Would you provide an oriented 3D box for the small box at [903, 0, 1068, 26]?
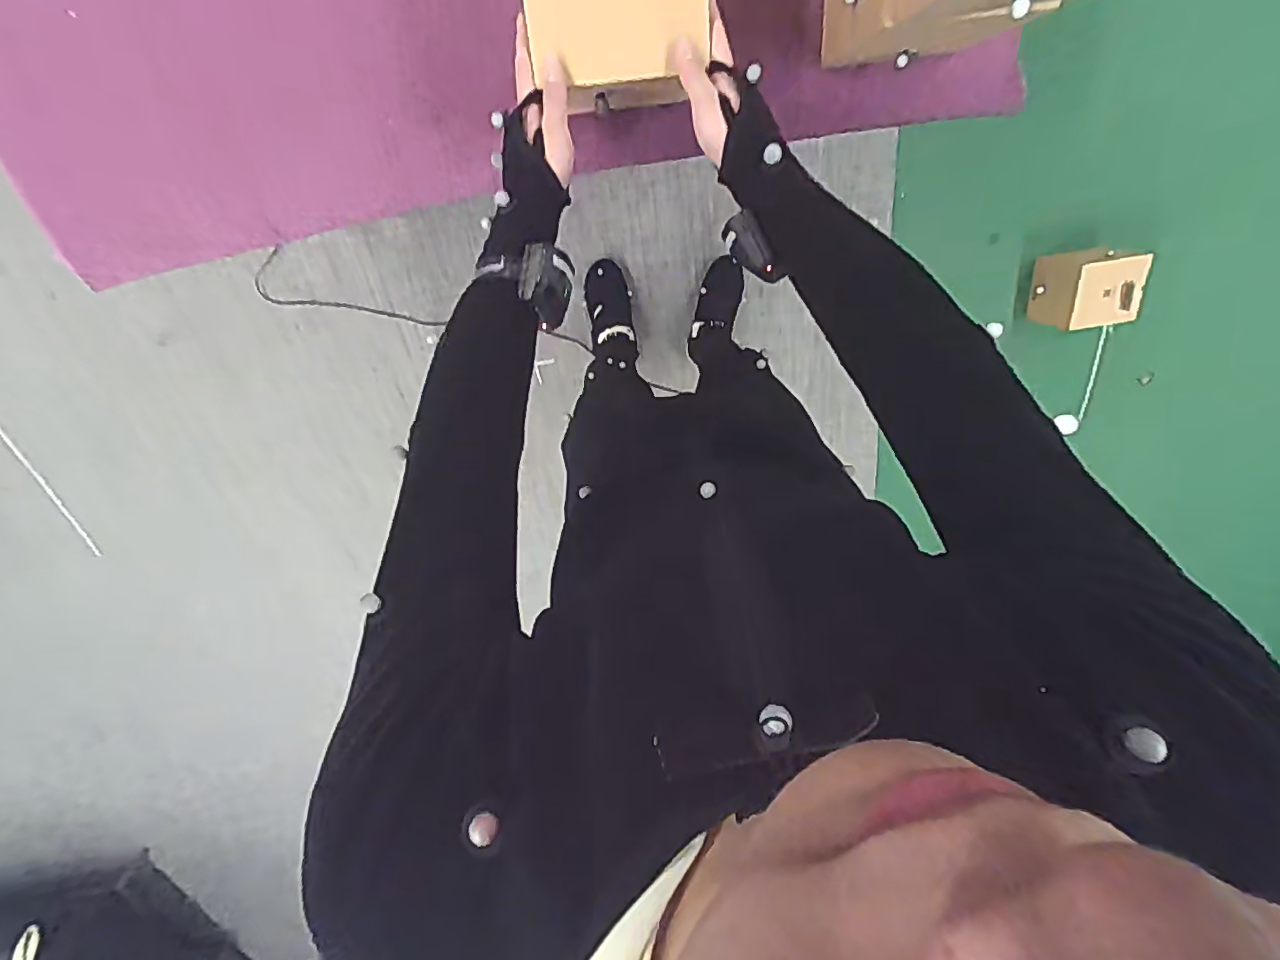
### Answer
[{"bbox_3d":[0.306,-0.464,0.382,0.168,0.176,0.179,-7,117,2],"label":"small box"}]

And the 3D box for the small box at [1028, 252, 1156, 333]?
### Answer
[{"bbox_3d":[1.181,-0.499,1.428,0.179,0.176,0.168,-9,117,2],"label":"small box"}]

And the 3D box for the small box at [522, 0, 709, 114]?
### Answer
[{"bbox_3d":[-0.025,-0.478,0.533,0.168,0.176,0.179,-6,116,1],"label":"small box"}]
